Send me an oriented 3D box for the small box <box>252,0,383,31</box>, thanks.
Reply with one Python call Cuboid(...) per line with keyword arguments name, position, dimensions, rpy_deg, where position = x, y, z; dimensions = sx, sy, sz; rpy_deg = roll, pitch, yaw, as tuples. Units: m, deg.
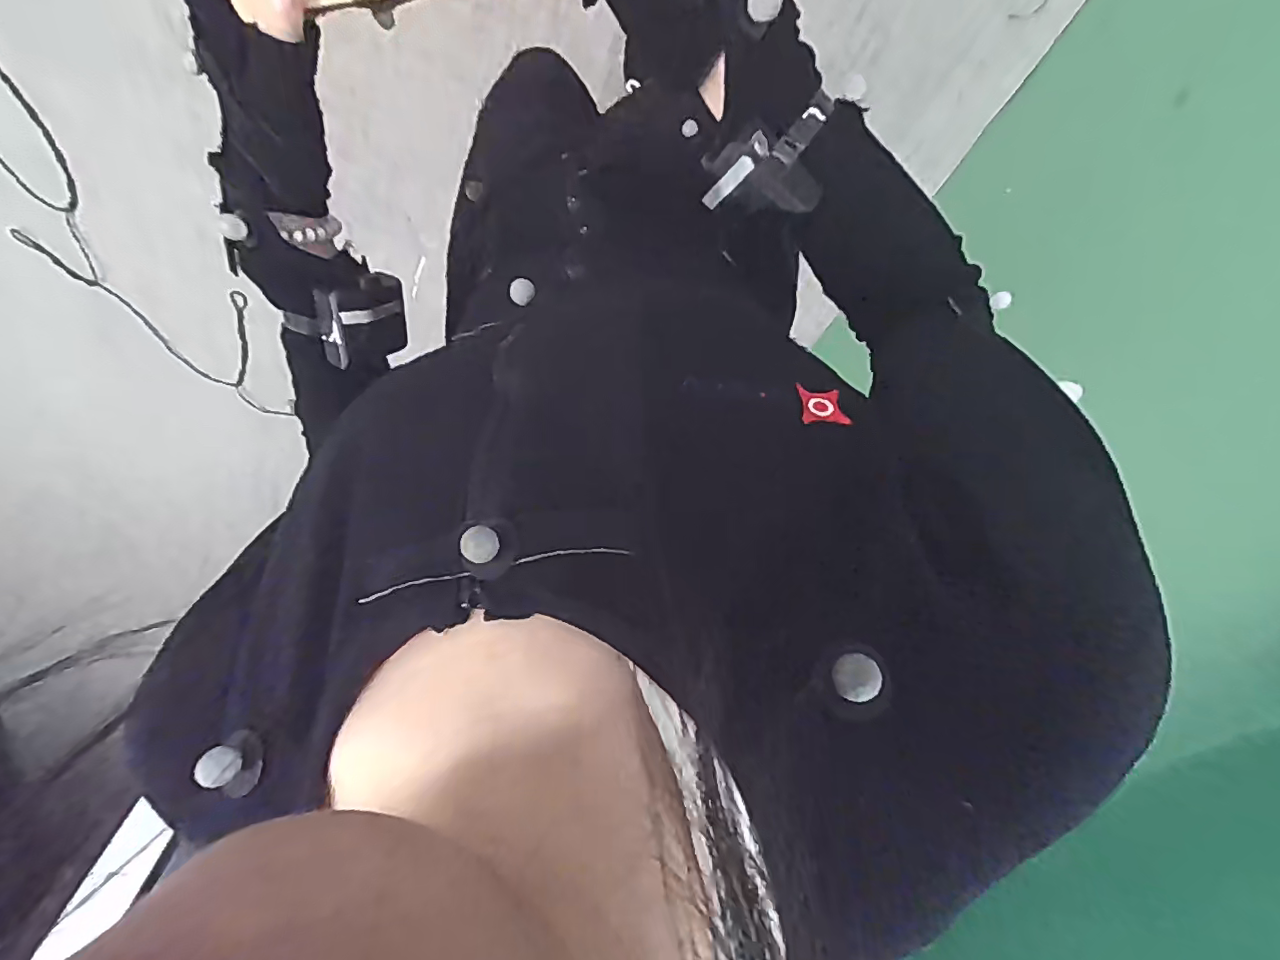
Cuboid(name="small box", position=(-0.139, -0.369, 0.273), dimensions=(0.168, 0.176, 0.179), rpy_deg=(-10, 134, 9))
